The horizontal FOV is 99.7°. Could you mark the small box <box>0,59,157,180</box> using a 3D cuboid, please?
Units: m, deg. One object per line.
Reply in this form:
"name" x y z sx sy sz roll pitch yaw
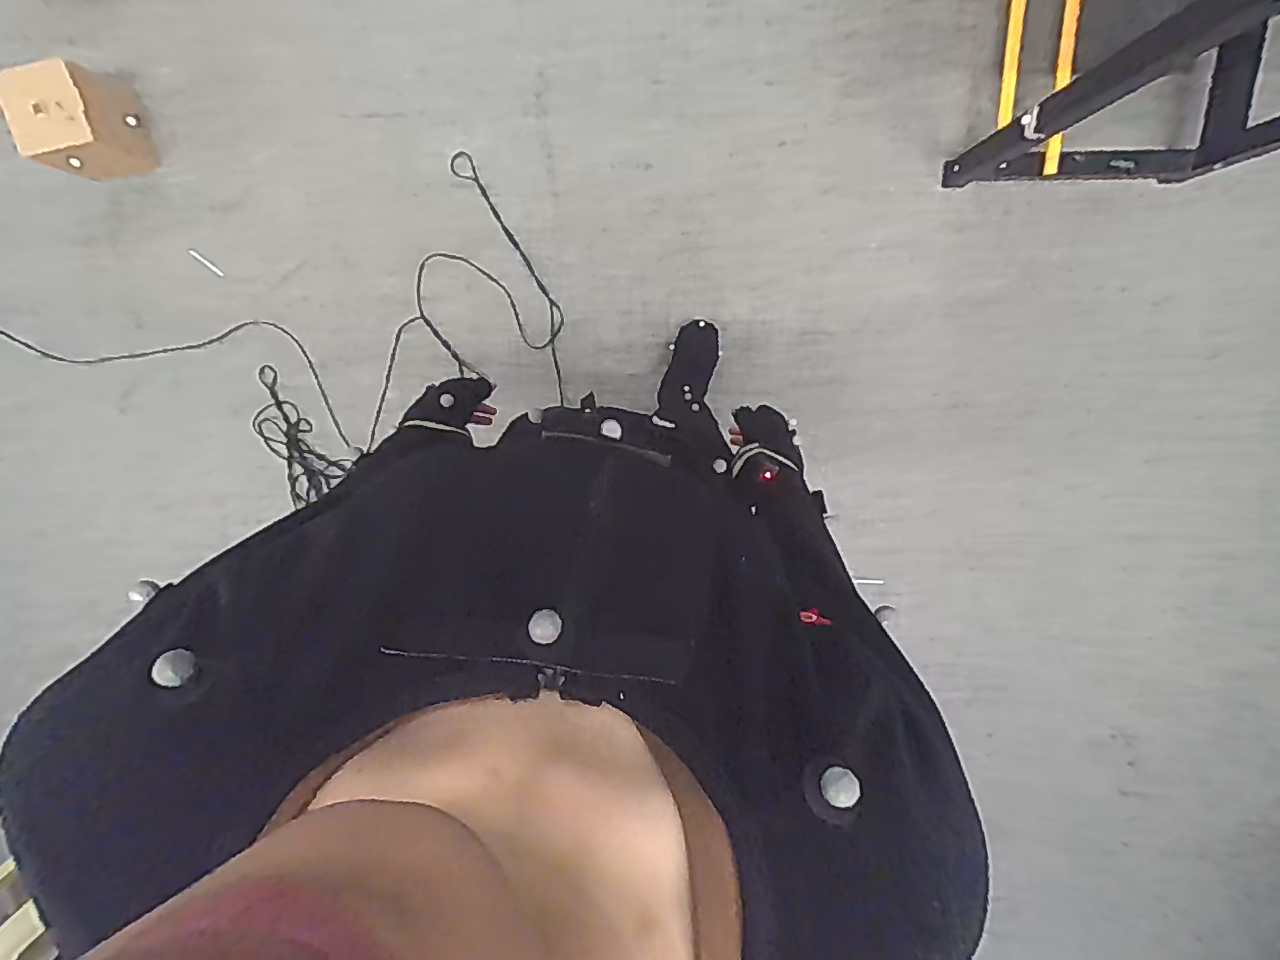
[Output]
"small box" -1.279 -0.809 1.235 0.179 0.176 0.168 -11 103 3
